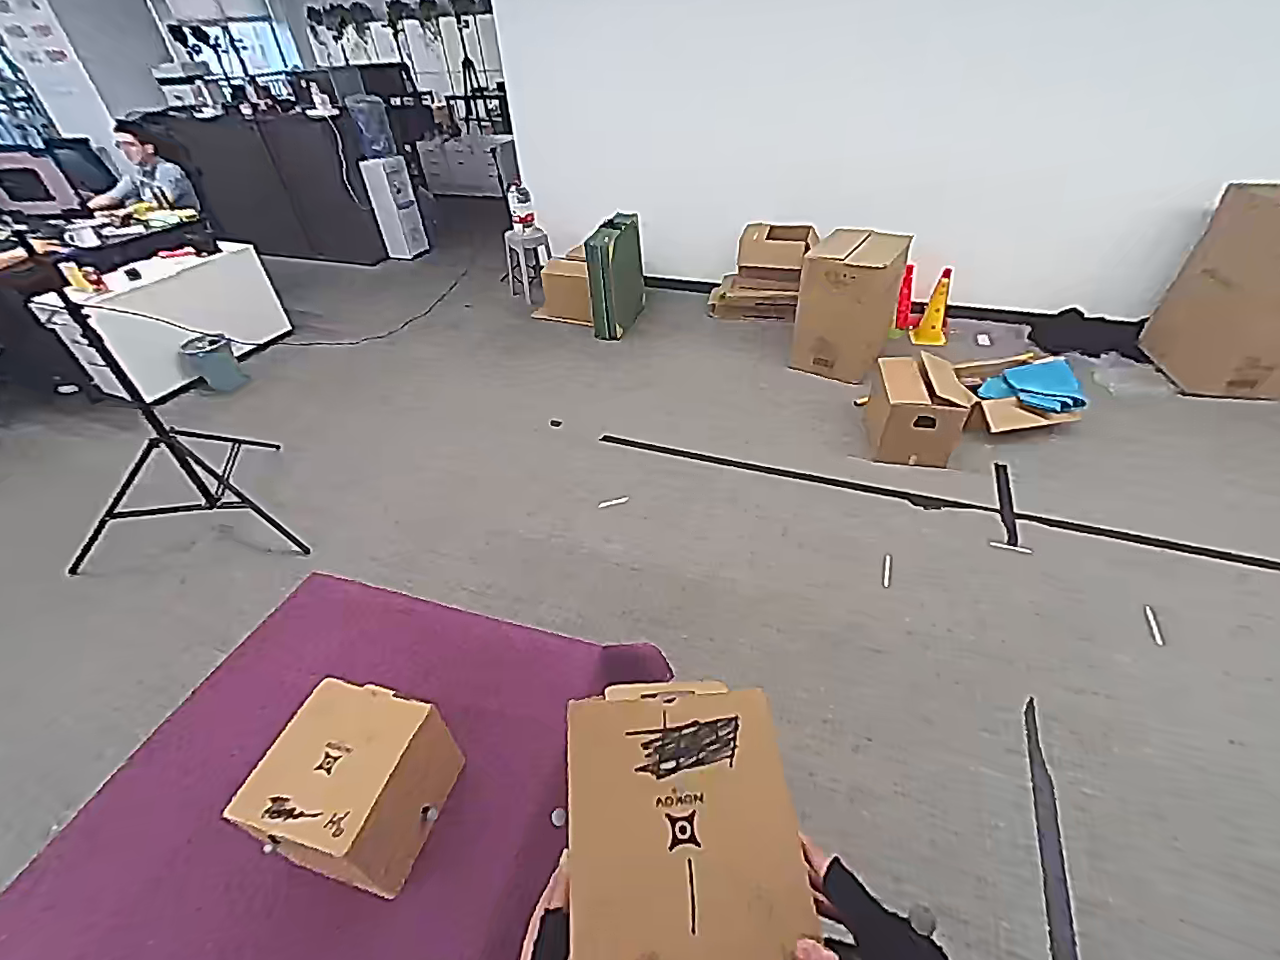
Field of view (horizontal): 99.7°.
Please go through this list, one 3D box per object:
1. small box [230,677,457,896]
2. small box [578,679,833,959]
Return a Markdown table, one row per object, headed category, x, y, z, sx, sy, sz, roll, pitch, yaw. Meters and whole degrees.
| category | x | y | z | sx | sy | sz | roll | pitch | yaw |
| --- | --- | --- | --- | --- | --- | --- | --- | --- | --- |
| small box | -0.359 | 0.392 | 0.699 | 0.168 | 0.176 | 0.179 | 8 | 41 | 14 |
| small box | 0.031 | 0.287 | 0.454 | 0.168 | 0.176 | 0.179 | -2 | 50 | -7 |
